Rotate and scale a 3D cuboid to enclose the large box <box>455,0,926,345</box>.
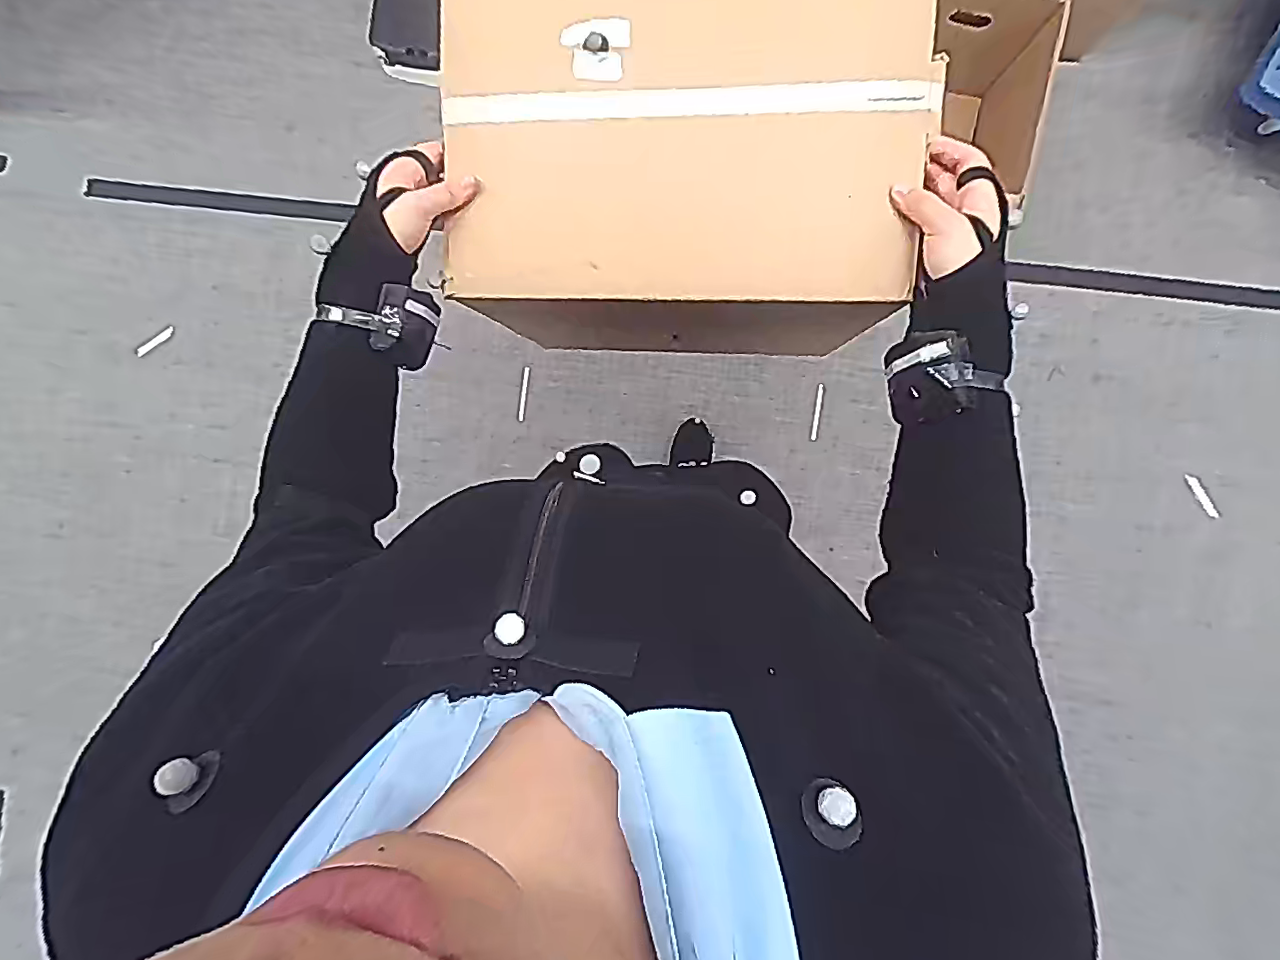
[{"bbox_3d":[0.051,-0.329,0.608,0.408,0.320,0.320,2,94,7],"label":"large box"}]
